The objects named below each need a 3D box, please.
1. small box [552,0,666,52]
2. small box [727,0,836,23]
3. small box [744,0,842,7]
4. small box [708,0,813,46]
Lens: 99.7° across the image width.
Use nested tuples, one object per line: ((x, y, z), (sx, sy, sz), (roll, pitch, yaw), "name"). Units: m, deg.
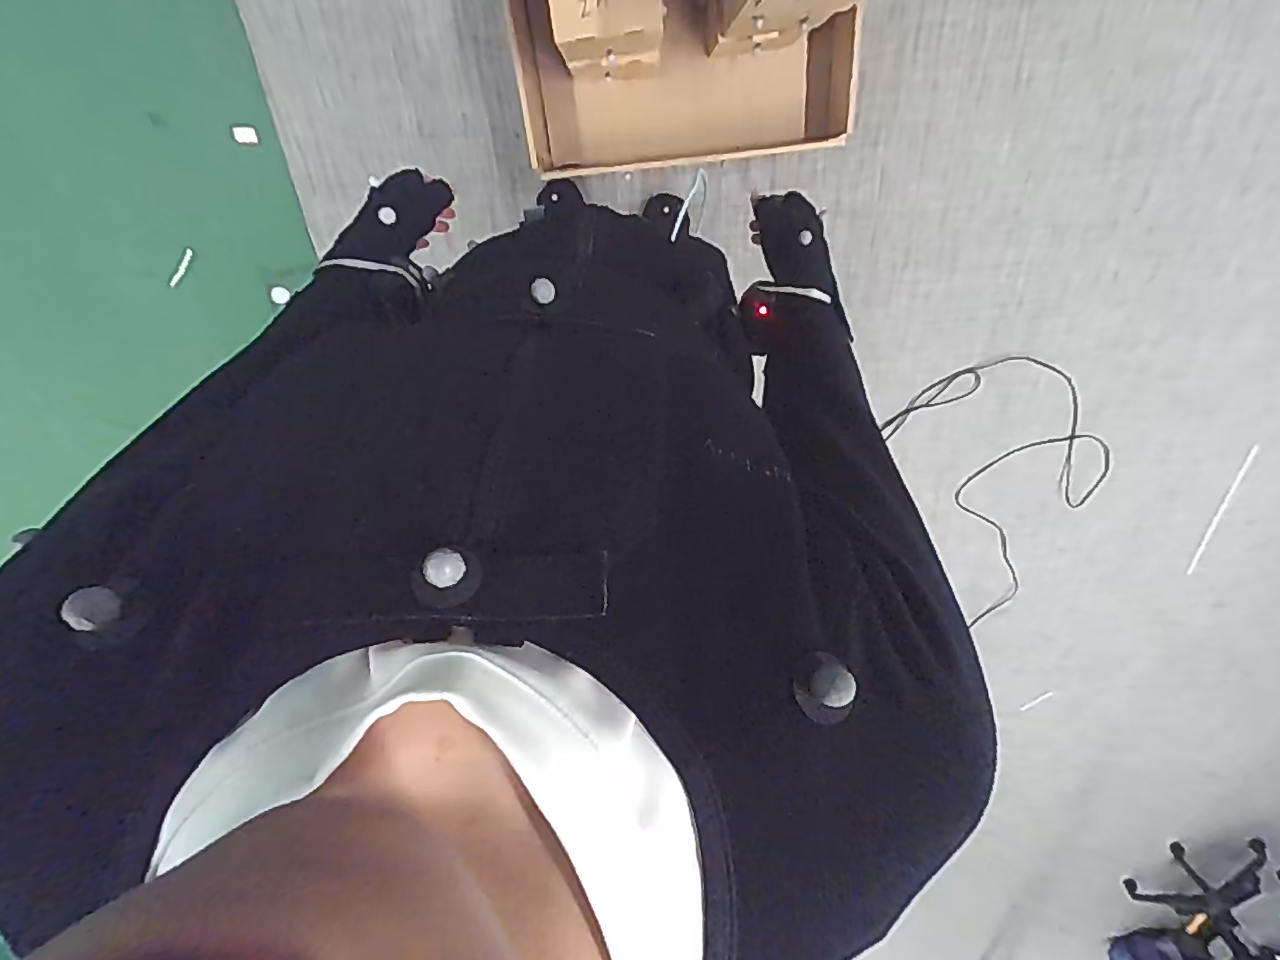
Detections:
((-0.052, -0.780, 0.818), (0.168, 0.176, 0.179), (-5, 121, 2), "small box")
((0.218, -0.796, 0.790), (0.168, 0.176, 0.179), (-4, 121, 4), "small box")
((0.215, -0.714, 0.668), (0.168, 0.176, 0.179), (-4, 121, 2), "small box")
((0.207, -0.888, 0.946), (0.168, 0.176, 0.179), (-7, 120, 6), "small box")
